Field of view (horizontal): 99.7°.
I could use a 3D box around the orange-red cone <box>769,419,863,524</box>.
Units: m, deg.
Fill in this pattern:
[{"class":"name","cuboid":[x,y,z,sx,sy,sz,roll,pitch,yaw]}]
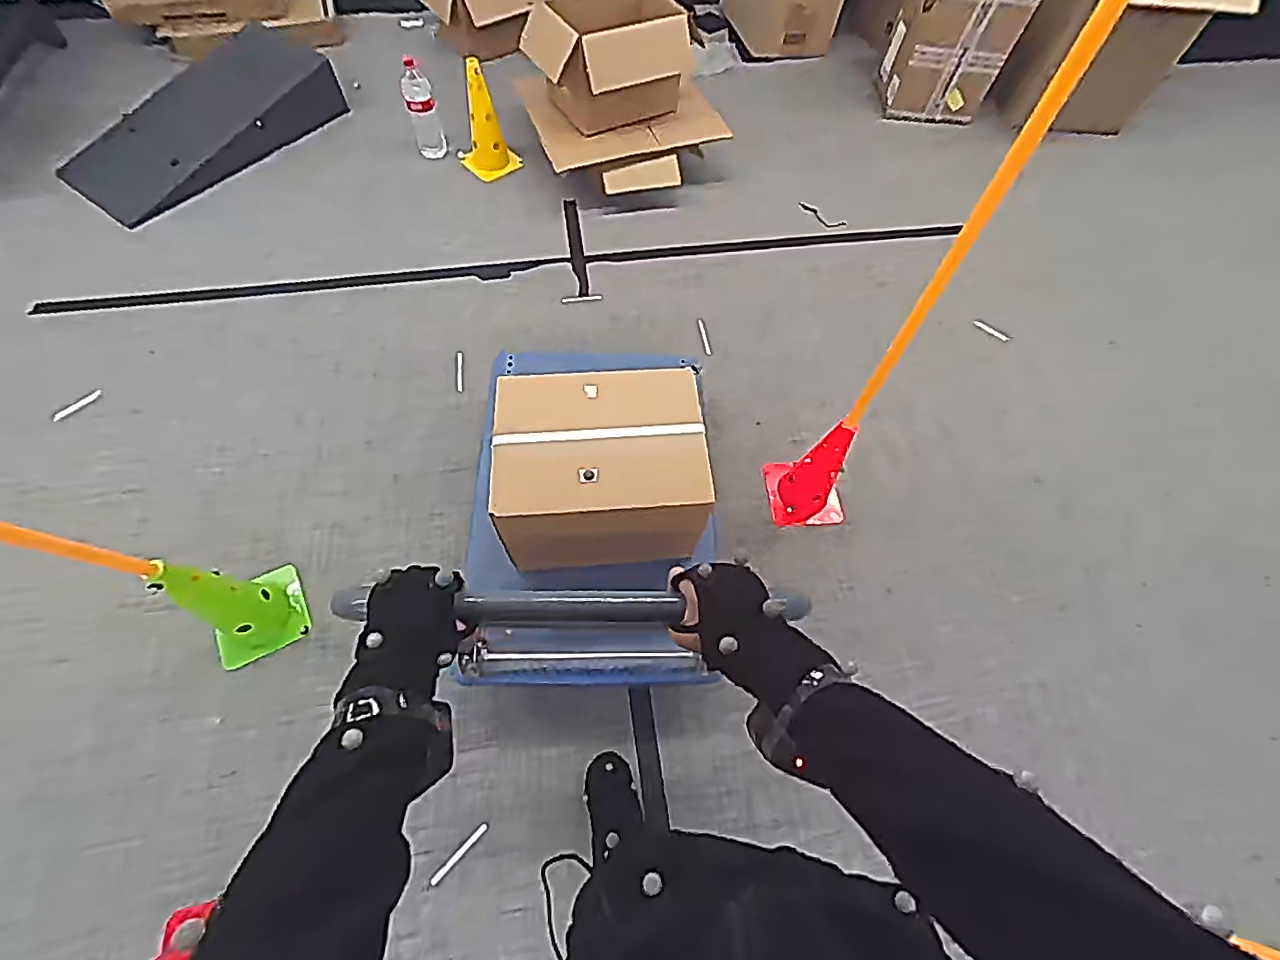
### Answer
[{"class":"orange-red cone","cuboid":[0.481,-0.044,1.383,0.199,0.360,0.198,-1,63,-5]}]
